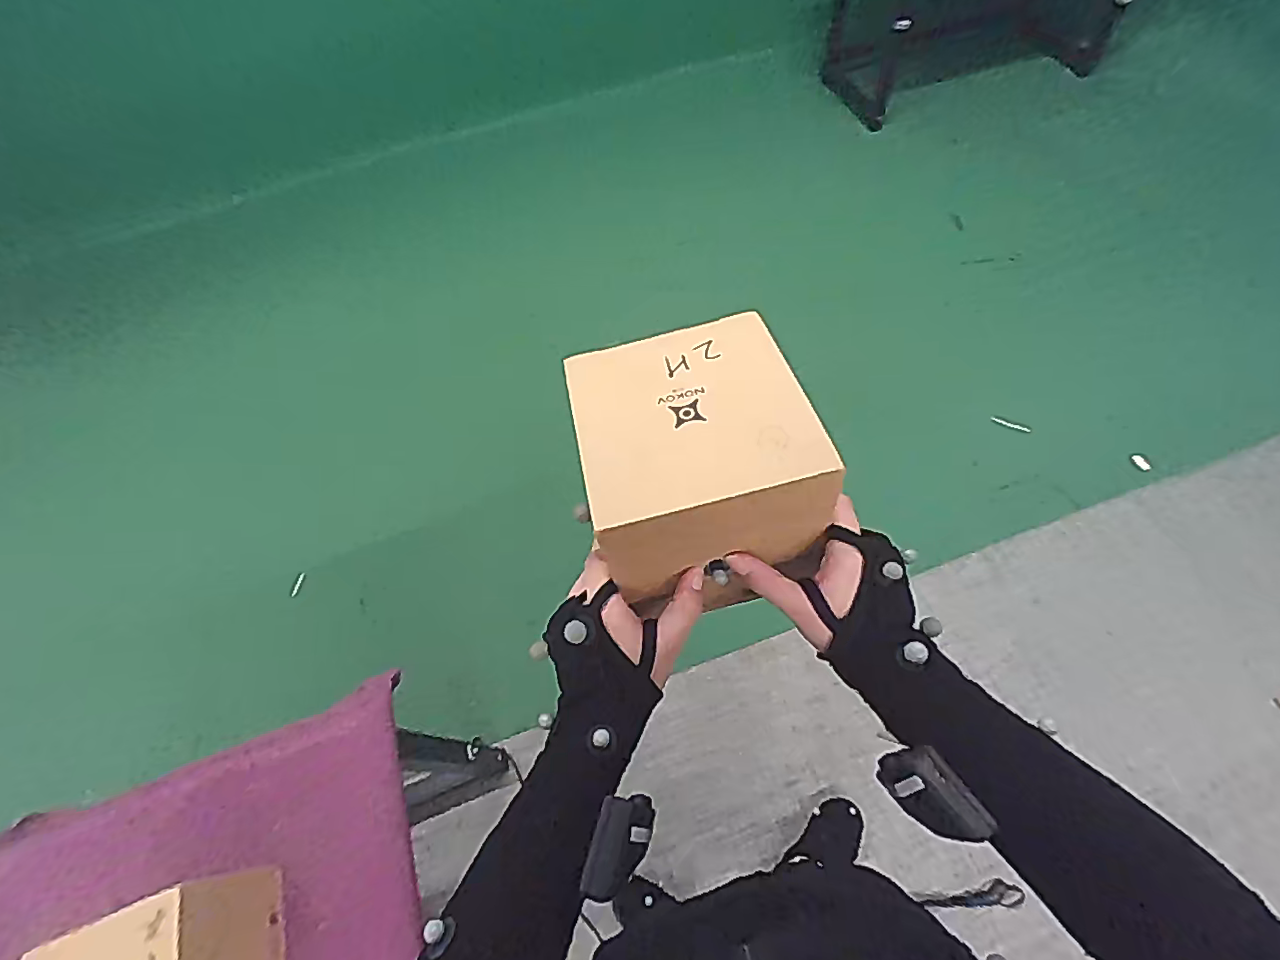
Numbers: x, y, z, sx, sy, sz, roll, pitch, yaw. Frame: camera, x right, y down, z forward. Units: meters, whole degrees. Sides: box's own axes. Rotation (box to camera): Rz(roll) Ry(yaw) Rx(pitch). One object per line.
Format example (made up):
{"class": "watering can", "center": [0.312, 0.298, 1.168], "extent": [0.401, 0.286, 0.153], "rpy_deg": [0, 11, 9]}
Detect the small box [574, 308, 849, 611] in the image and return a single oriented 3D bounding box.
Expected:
{"class": "small box", "center": [0.052, -0.007, 0.450], "extent": [0.168, 0.176, 0.179], "rpy_deg": [-13, 52, 0]}

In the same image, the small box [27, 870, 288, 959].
{"class": "small box", "center": [-0.544, 0.584, 0.620], "extent": [0.179, 0.176, 0.168], "rpy_deg": [-23, 62, -4]}
